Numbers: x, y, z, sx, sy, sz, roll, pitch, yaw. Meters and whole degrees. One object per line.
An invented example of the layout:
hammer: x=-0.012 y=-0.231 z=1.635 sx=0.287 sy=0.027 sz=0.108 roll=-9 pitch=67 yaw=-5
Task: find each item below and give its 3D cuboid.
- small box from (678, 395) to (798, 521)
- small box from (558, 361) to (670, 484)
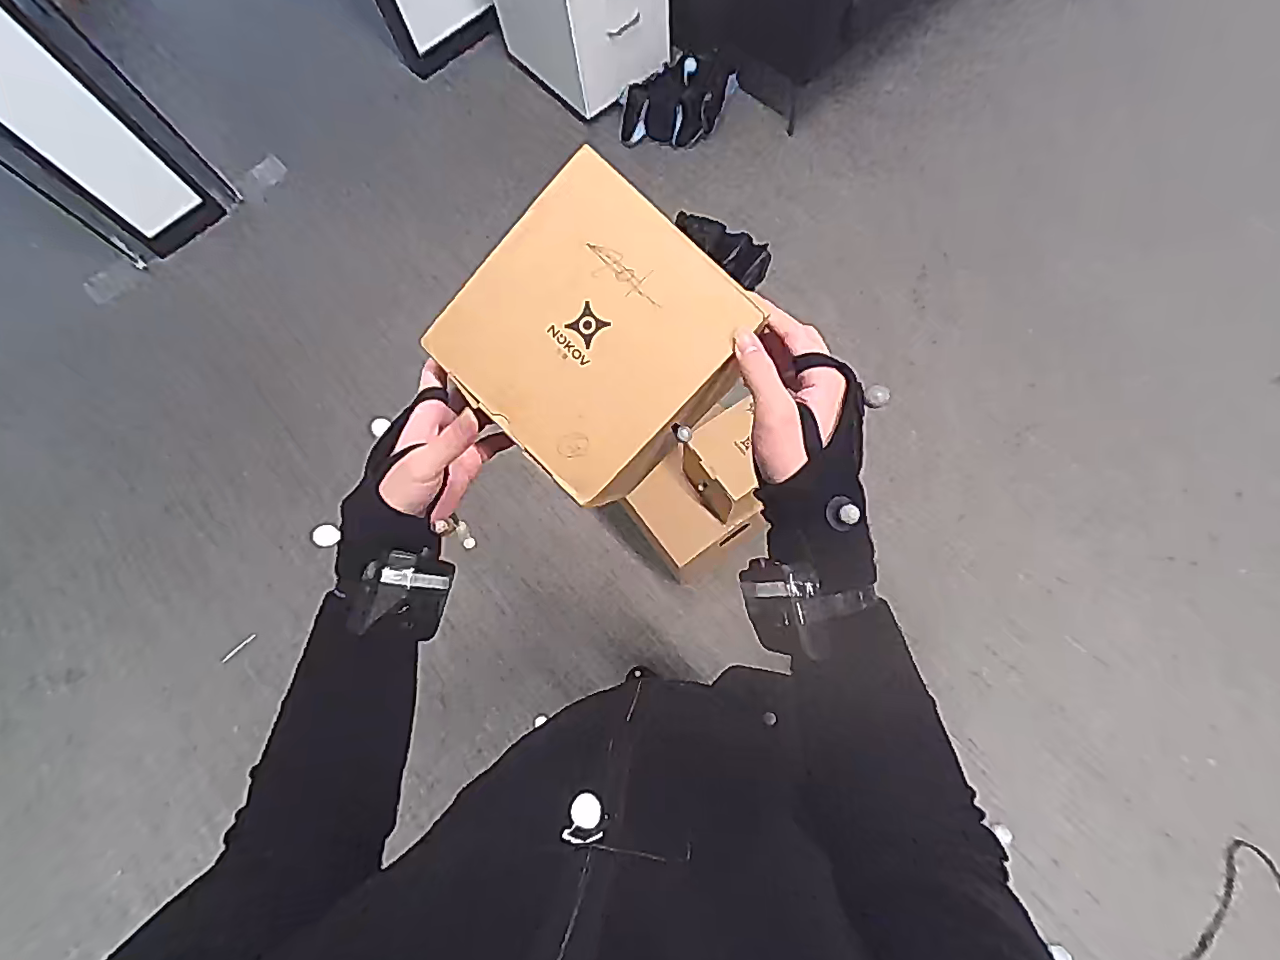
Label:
small box: x=0.197 y=-0.038 z=1.130 sx=0.179 sy=0.176 sz=0.168 roll=-33 pitch=71 yaw=-9
small box: x=-0.048 y=-0.119 z=1.176 sx=0.179 sy=0.176 sz=0.168 roll=-34 pitch=72 yaw=-5
